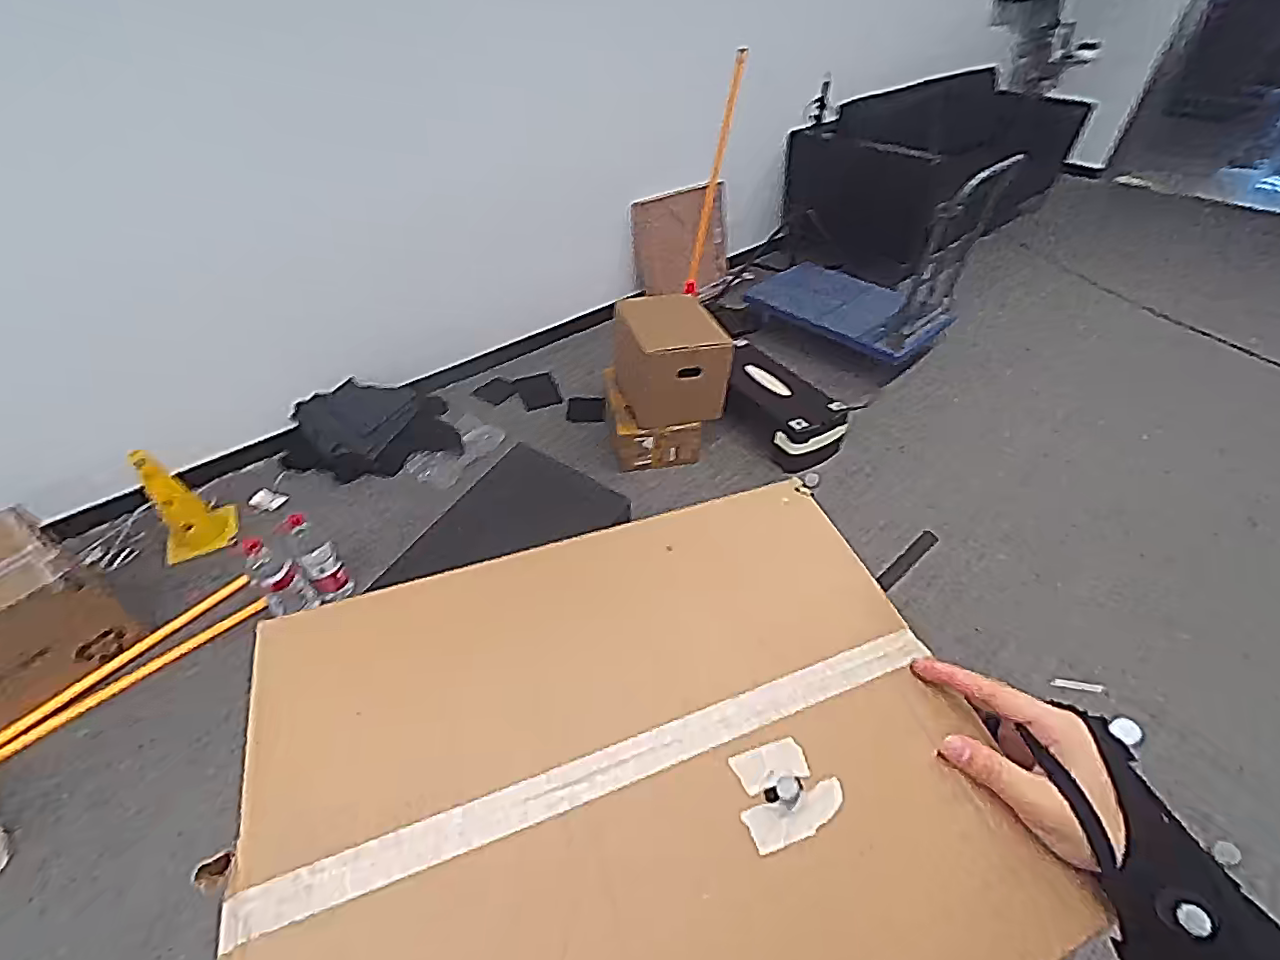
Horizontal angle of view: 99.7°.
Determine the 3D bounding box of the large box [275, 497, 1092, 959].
[{"bbox_3d":[-0.005,0.266,0.430,0.408,0.320,0.320,-13,52,-17],"label":"large box"}]
